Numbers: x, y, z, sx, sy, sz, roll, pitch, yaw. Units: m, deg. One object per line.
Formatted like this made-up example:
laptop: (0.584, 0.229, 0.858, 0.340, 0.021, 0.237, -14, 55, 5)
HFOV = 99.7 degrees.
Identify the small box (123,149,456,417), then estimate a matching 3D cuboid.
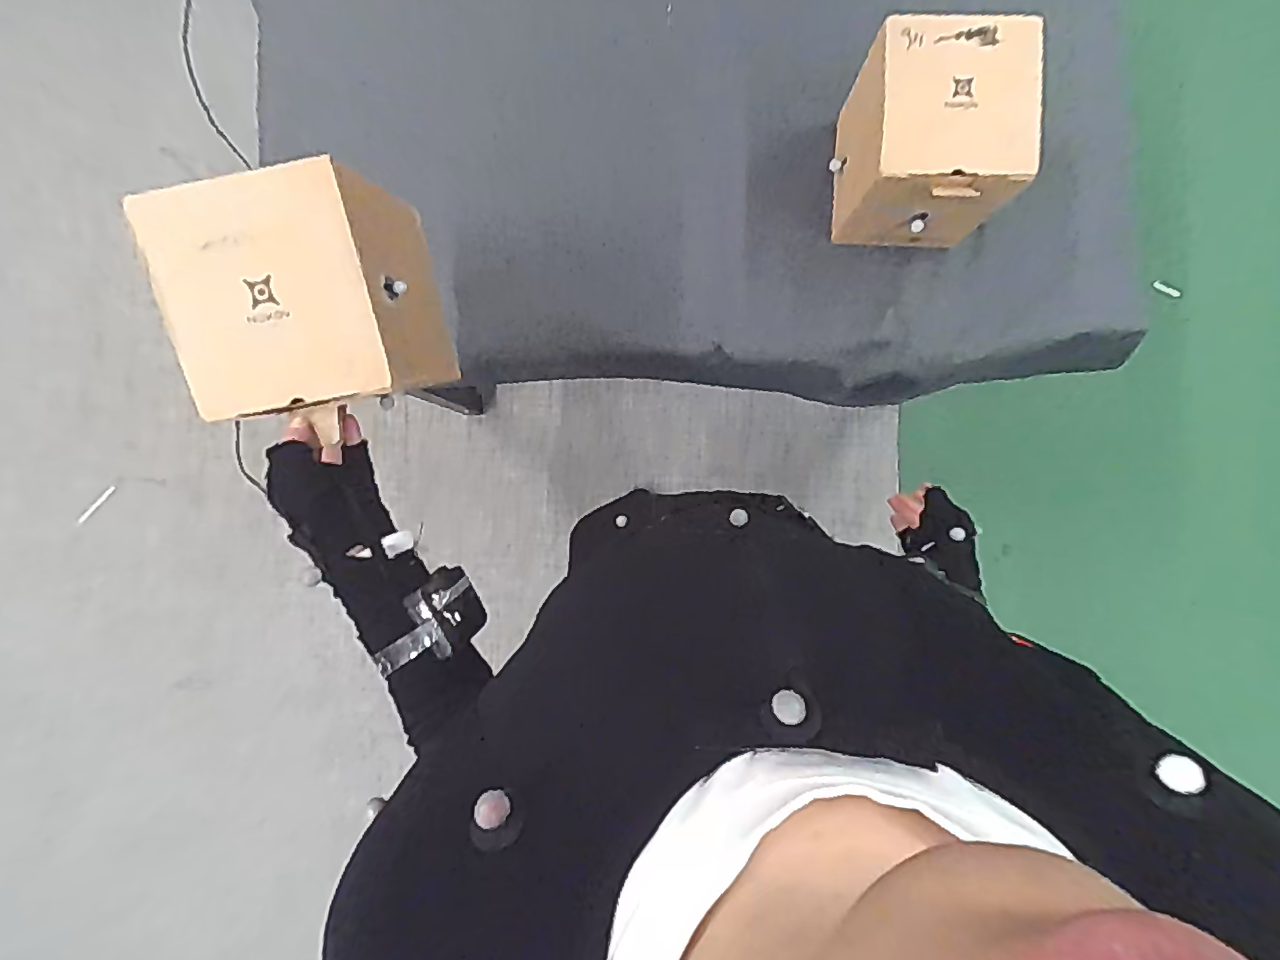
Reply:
small box: (-0.288, -0.166, 0.494, 0.168, 0.176, 0.179, -10, 103, 2)

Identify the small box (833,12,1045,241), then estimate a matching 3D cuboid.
small box: (0.343, -0.408, 0.653, 0.168, 0.176, 0.179, 3, 90, 2)
